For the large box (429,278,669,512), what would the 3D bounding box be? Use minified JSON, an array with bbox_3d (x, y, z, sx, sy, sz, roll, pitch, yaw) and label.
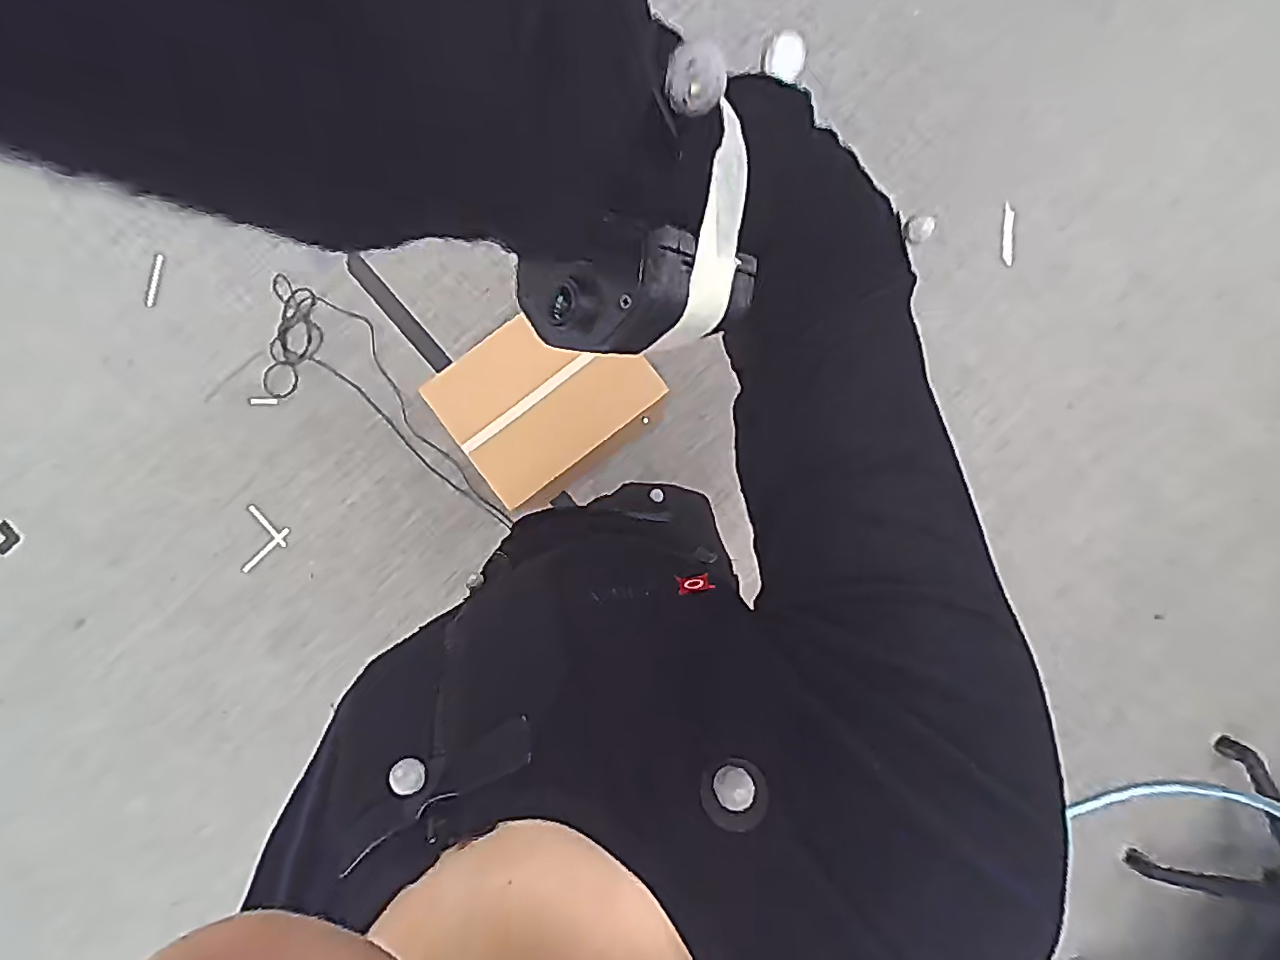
[{"bbox_3d":[-0.184,-0.171,1.246,0.408,0.320,0.320,-37,87,-1],"label":"large box"}]
